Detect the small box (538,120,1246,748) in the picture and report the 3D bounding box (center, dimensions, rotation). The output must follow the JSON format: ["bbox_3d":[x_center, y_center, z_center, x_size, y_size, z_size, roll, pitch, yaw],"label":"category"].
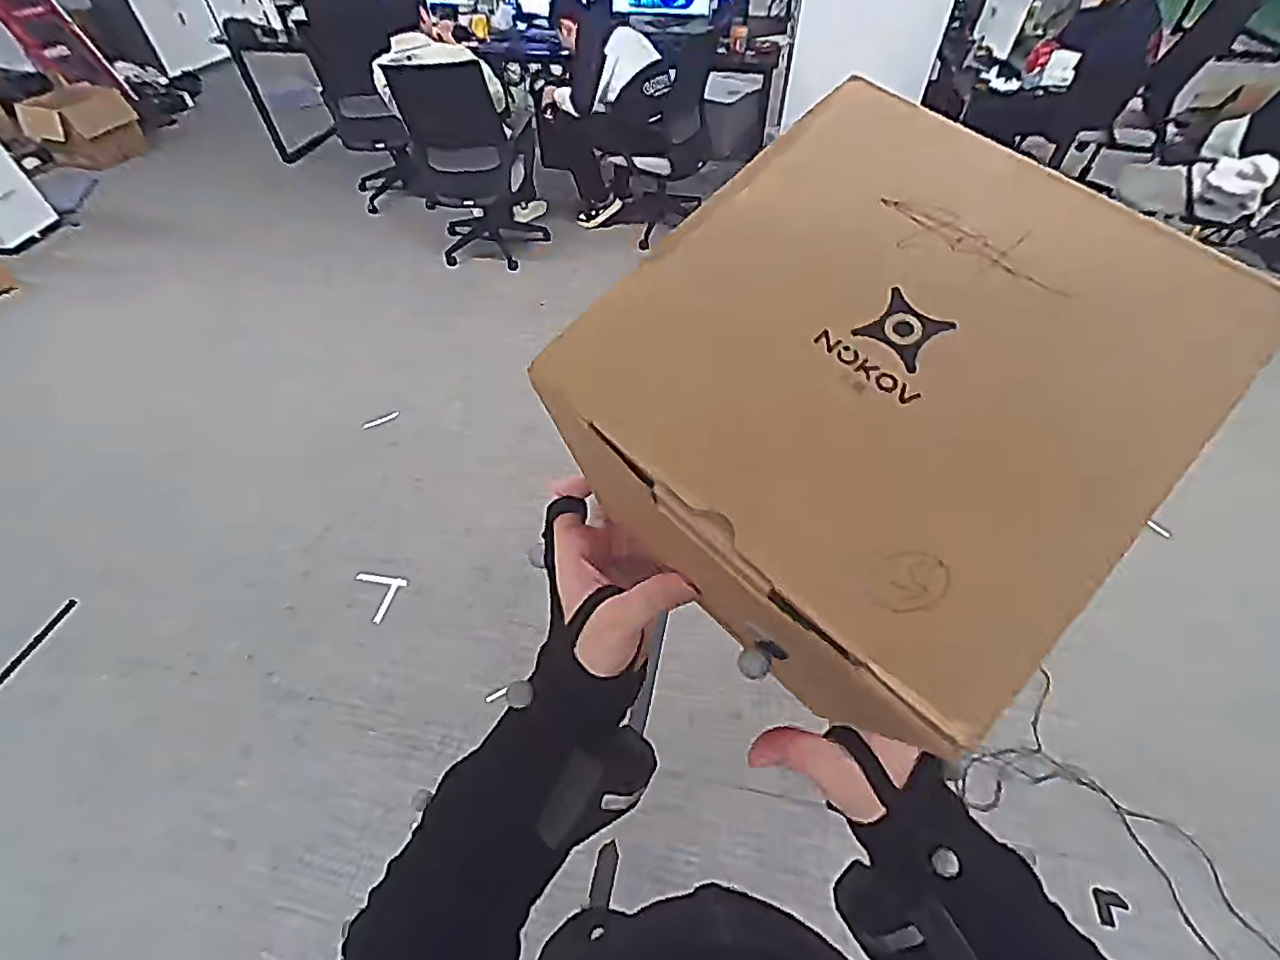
[{"bbox_3d":[0.086,-0.010,0.257,0.168,0.176,0.179,41,79,17],"label":"small box"}]
